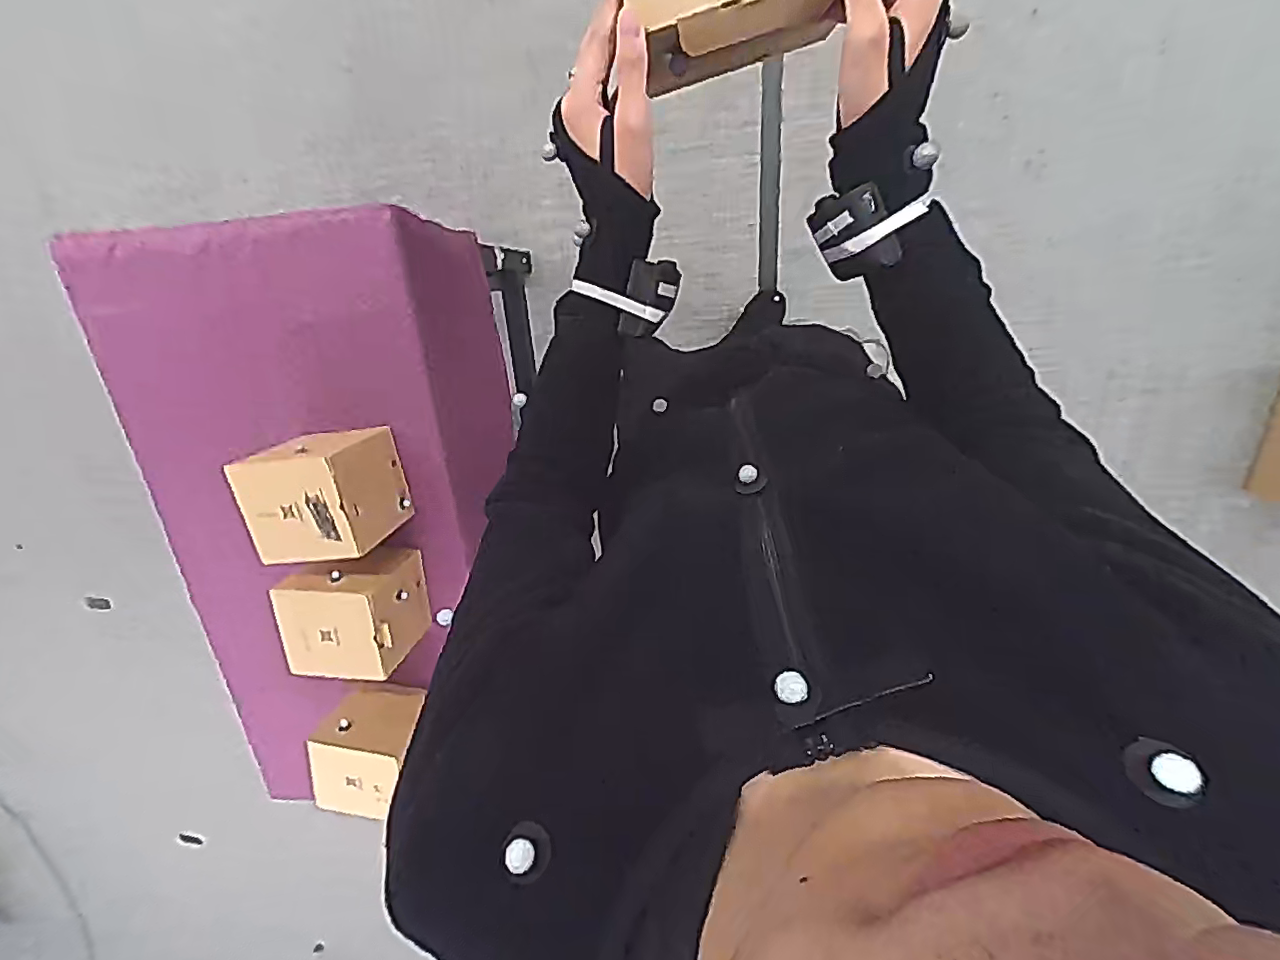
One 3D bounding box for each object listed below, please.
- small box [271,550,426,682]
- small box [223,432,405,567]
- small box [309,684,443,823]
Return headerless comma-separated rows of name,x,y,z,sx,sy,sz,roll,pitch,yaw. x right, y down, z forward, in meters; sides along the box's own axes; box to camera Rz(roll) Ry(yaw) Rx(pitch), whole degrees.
small box,-0.500,0.232,0.961,0.179,0.176,0.168,2,109,6
small box,-0.512,0.025,0.885,0.179,0.176,0.168,-5,109,10
small box,-0.511,0.531,1.069,0.179,0.176,0.168,7,111,3
